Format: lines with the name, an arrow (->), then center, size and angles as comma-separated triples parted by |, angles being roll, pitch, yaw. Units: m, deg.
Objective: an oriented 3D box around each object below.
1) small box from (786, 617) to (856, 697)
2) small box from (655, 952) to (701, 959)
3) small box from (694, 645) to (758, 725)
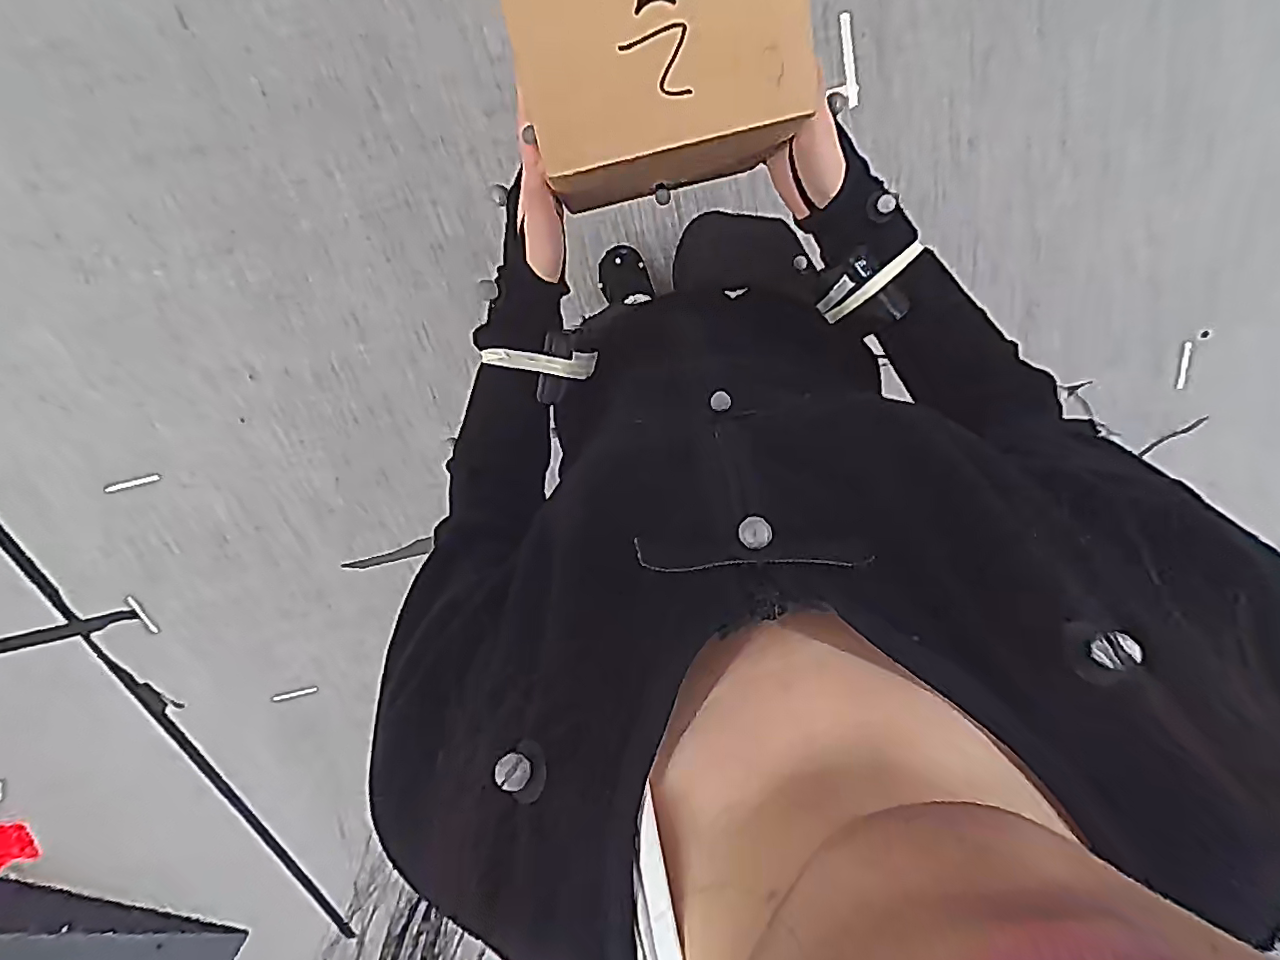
small box -> 0.588, 0.570, 1.768 | 0.168, 0.176, 0.179 | -13, 115, 1
small box -> 0.069, 1.204, 1.205 | 0.179, 0.176, 0.168 | -13, 115, 0
small box -> 0.280, 0.669, 1.788 | 0.168, 0.176, 0.179 | -12, 115, 2
